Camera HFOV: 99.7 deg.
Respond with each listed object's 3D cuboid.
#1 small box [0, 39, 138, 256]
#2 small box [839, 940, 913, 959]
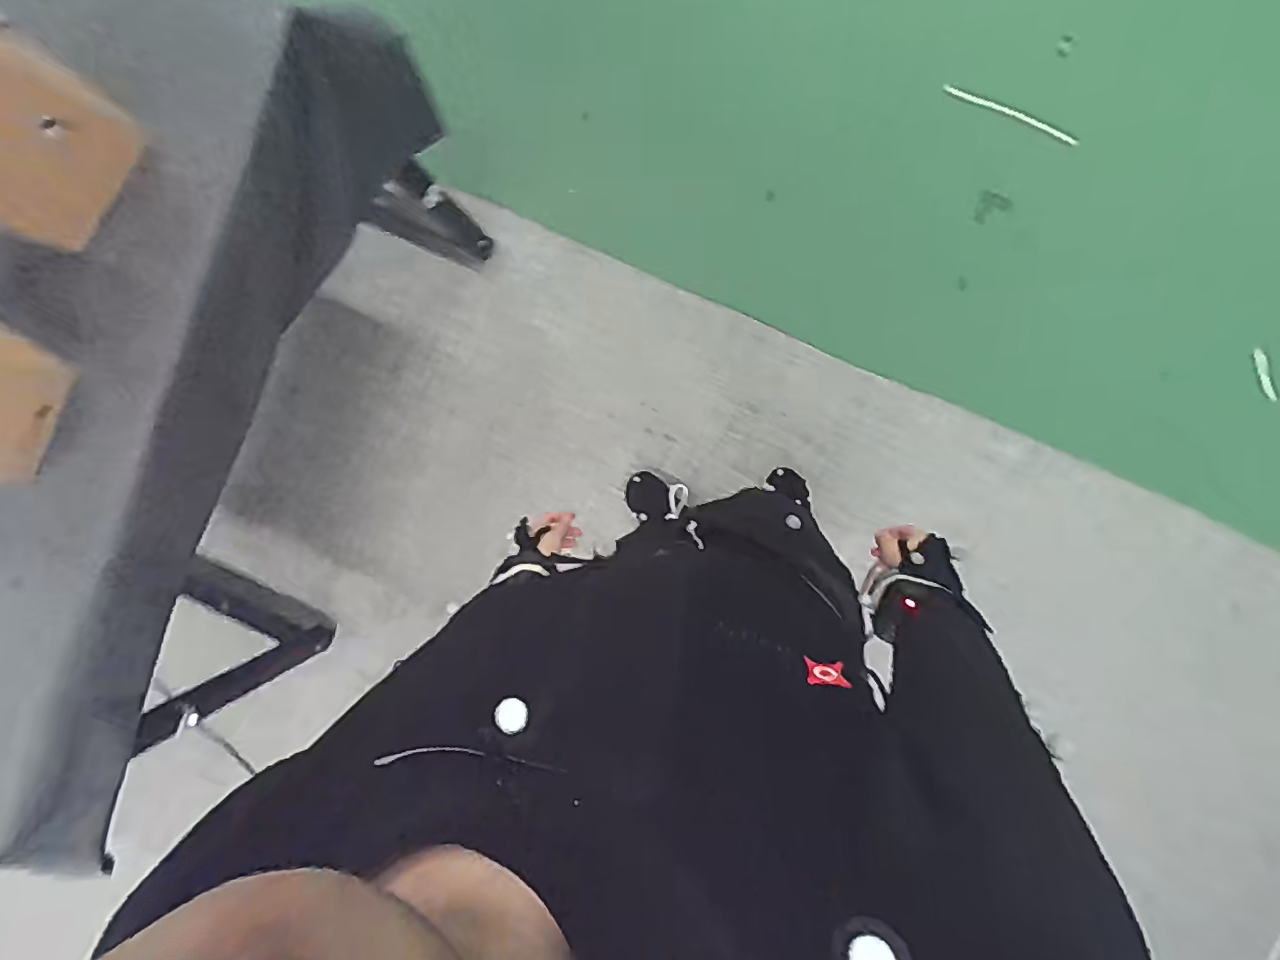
[{"bbox_3d":[-0.725,-0.389,0.599,0.168,0.176,0.179,38,97,3],"label":"small box"},{"bbox_3d":[0.596,1.279,1.320,0.179,0.176,0.168,4,94,6],"label":"small box"}]
